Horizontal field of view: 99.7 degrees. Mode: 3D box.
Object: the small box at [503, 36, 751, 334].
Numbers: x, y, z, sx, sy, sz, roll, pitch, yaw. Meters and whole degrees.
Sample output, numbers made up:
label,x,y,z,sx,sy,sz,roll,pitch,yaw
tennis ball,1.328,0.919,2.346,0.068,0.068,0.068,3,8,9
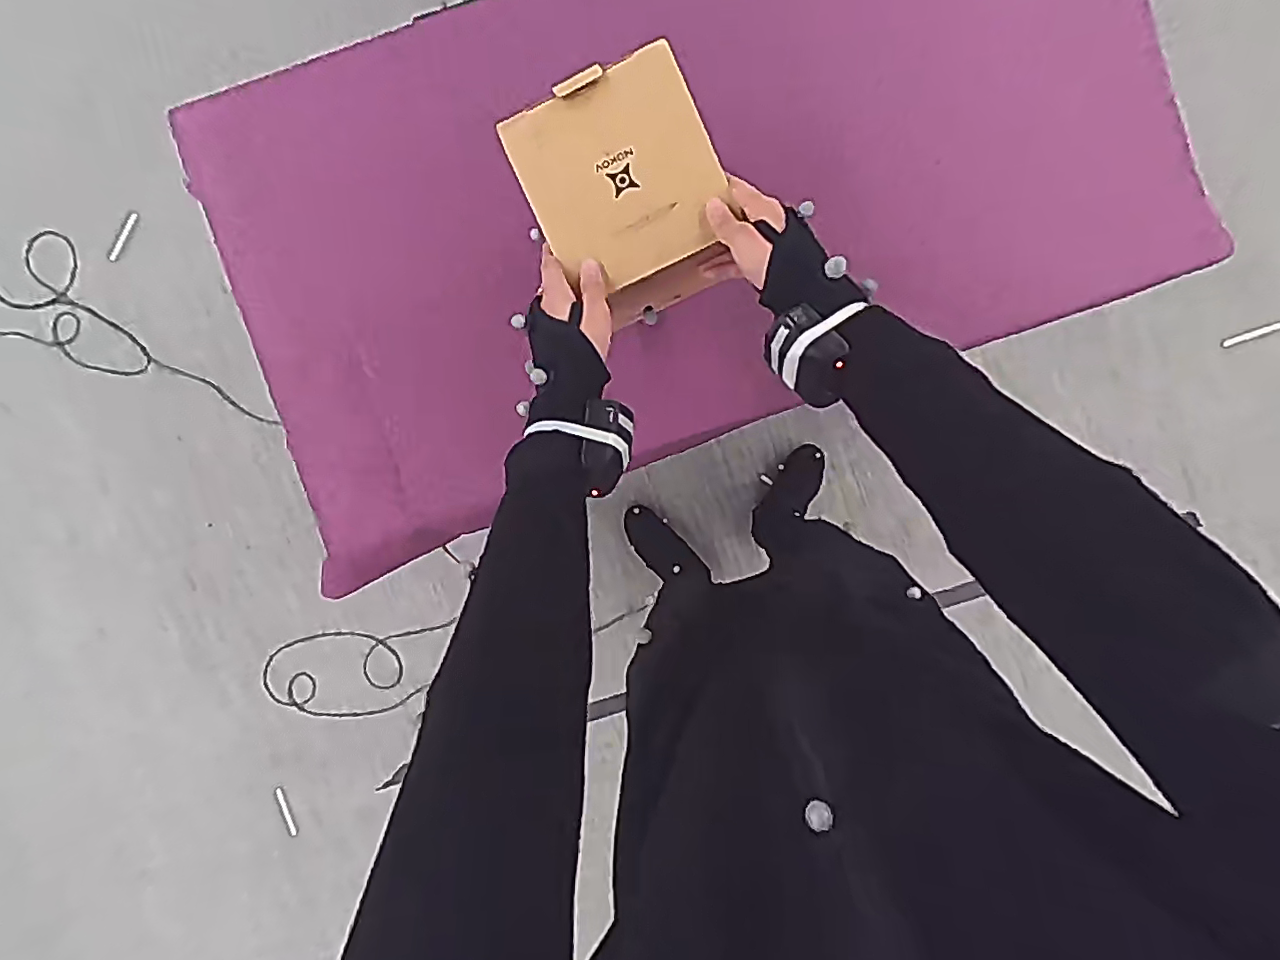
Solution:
label,x,y,z,sx,sy,sz,roll,pitch,yaw
small box,-0.009,-0.270,0.542,0.168,0.176,0.179,-24,94,5
